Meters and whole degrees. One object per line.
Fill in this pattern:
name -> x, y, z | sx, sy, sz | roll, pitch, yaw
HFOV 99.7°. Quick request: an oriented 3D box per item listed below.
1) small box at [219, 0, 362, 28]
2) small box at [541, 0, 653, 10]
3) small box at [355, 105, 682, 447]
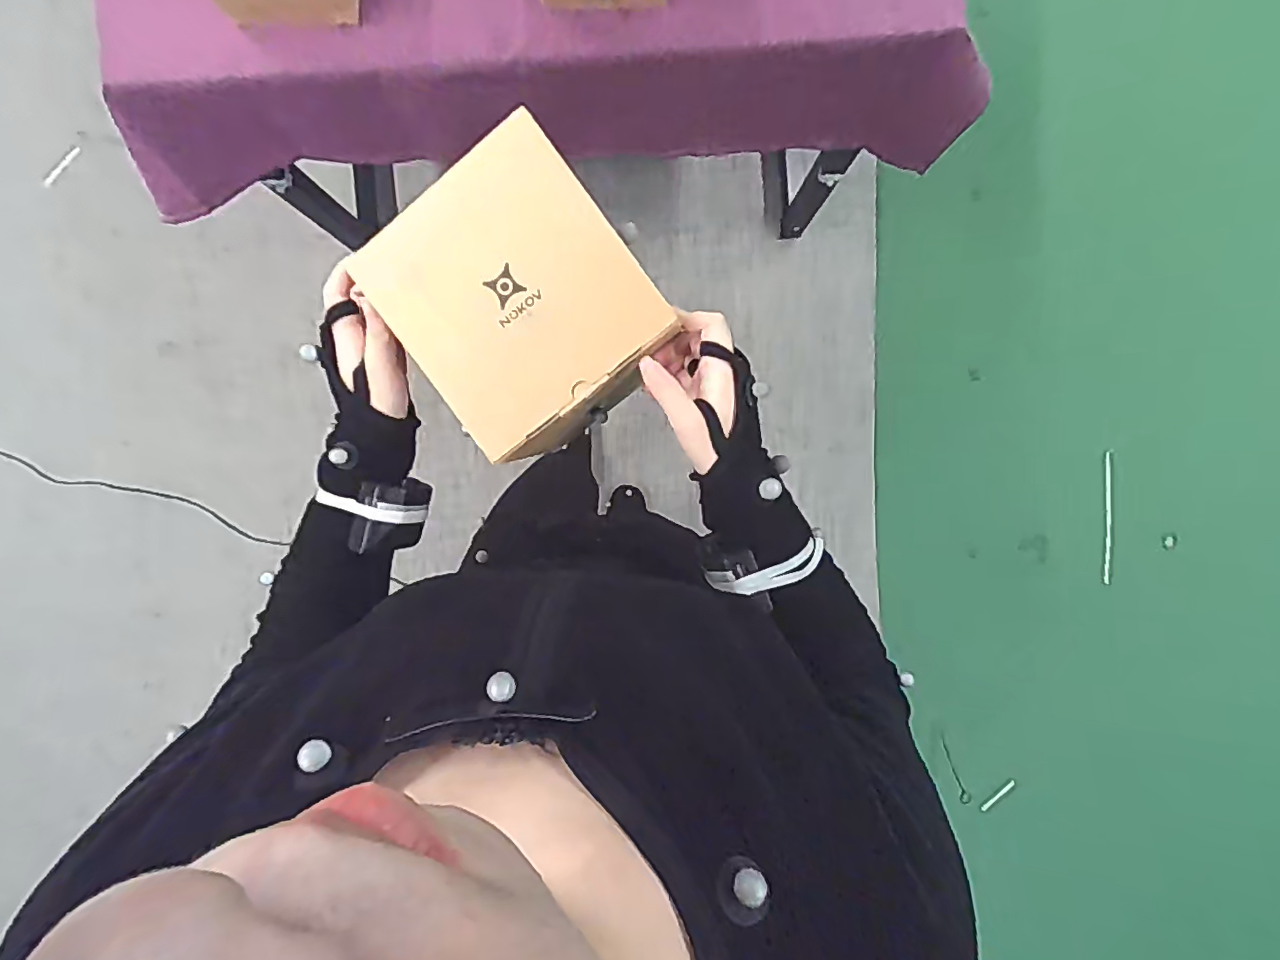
small box -> -0.471, -0.705, 0.666 | 0.179, 0.176, 0.168 | 0, 92, -2
small box -> -0.051, -0.733, 0.671 | 0.179, 0.176, 0.168 | -2, 91, -1
small box -> -0.081, -0.146, 0.452 | 0.168, 0.176, 0.179 | -36, 94, 8
